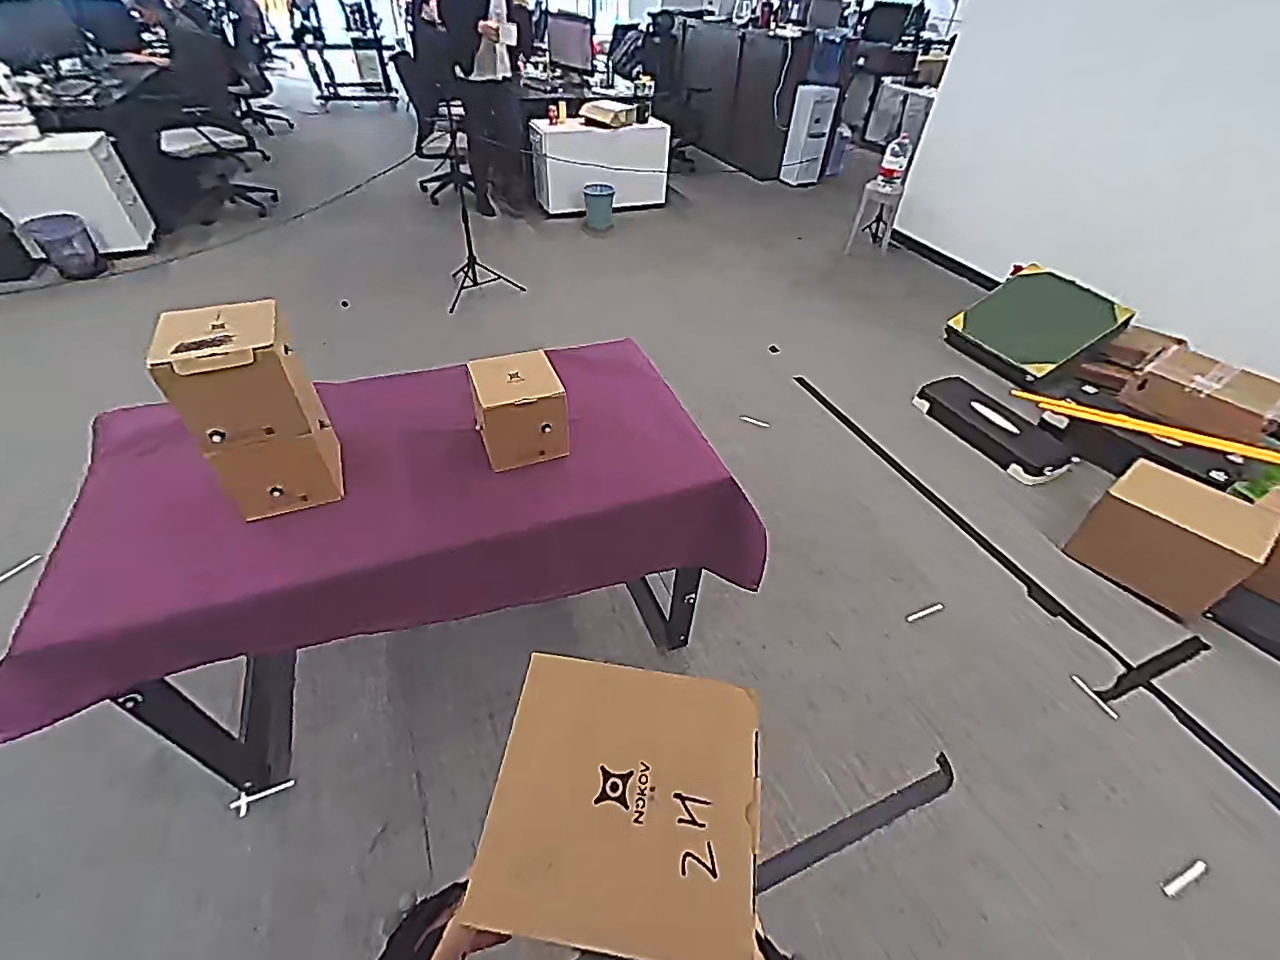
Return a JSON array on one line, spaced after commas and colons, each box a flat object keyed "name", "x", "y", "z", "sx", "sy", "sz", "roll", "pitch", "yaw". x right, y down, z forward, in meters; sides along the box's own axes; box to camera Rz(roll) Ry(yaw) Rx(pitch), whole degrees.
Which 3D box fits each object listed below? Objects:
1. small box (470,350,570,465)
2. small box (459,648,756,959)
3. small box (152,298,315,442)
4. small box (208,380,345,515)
[{"name": "small box", "x": -0.251, "y": -0.149, "z": 1.146, "sx": 0.168, "sy": 0.176, "sz": 0.179, "roll": -14, "pitch": 46, "yaw": -18}, {"name": "small box", "x": -0.013, "y": 0.254, "z": 0.426, "sx": 0.179, "sy": 0.176, "sz": 0.168, "roll": 8, "pitch": 52, "yaw": 4}, {"name": "small box", "x": -0.667, "y": -0.181, "z": 0.911, "sx": 0.168, "sy": 0.176, "sz": 0.179, "roll": -15, "pitch": 47, "yaw": -20}, {"name": "small box", "x": -0.674, "y": -0.062, "z": 1.024, "sx": 0.168, "sy": 0.176, "sz": 0.179, "roll": -14, "pitch": 48, "yaw": -19}]
